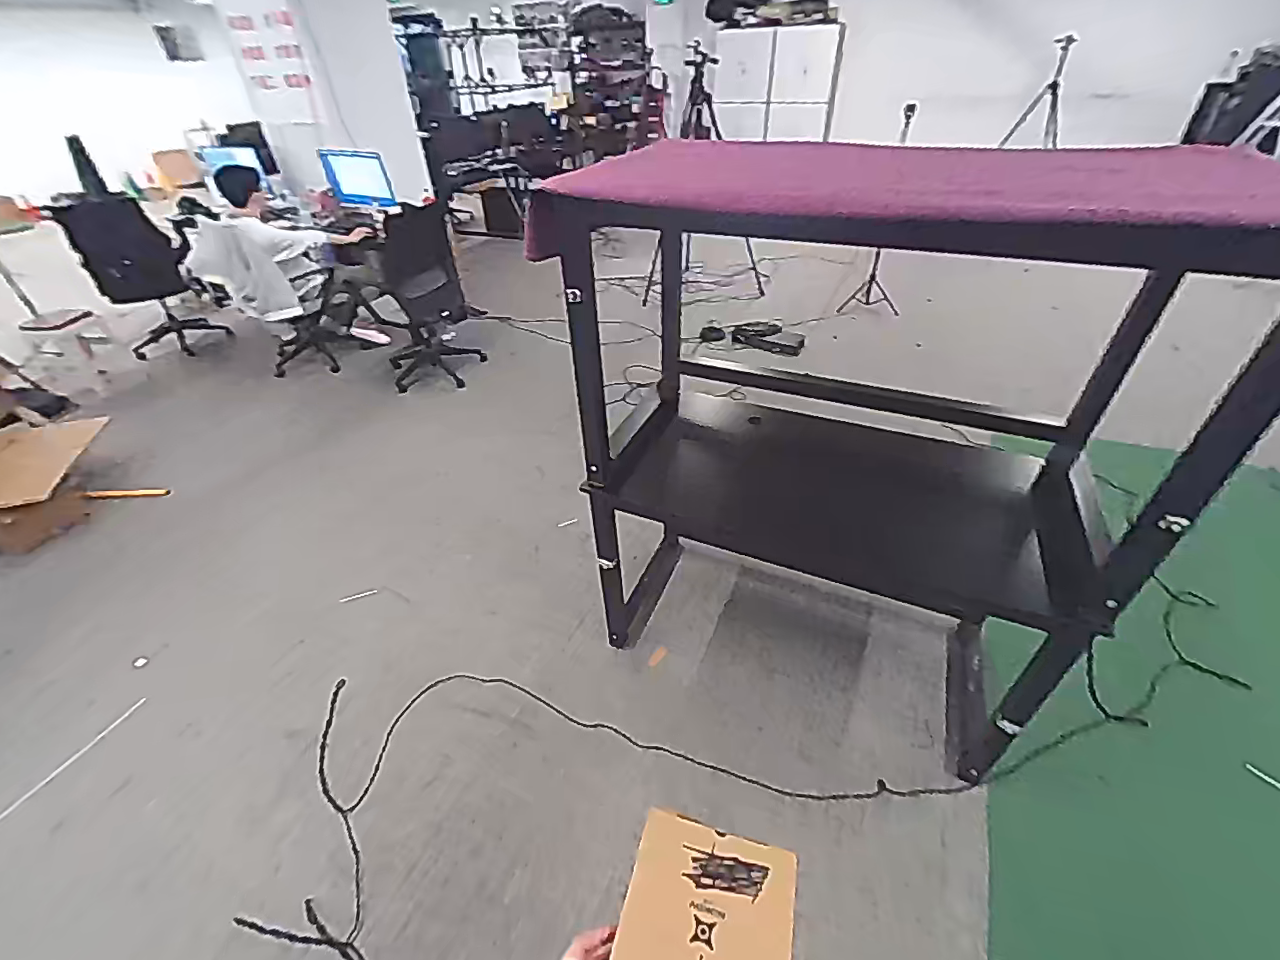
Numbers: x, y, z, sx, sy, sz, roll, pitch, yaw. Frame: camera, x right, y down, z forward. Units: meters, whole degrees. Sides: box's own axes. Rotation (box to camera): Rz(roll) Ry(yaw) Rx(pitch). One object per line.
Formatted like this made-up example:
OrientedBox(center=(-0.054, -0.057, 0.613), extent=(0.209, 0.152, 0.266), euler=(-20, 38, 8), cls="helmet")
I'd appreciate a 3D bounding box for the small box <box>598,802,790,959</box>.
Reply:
OrientedBox(center=(0.055, 0.489, 0.571), extent=(0.168, 0.176, 0.179), euler=(10, 38, 14), cls="small box")
